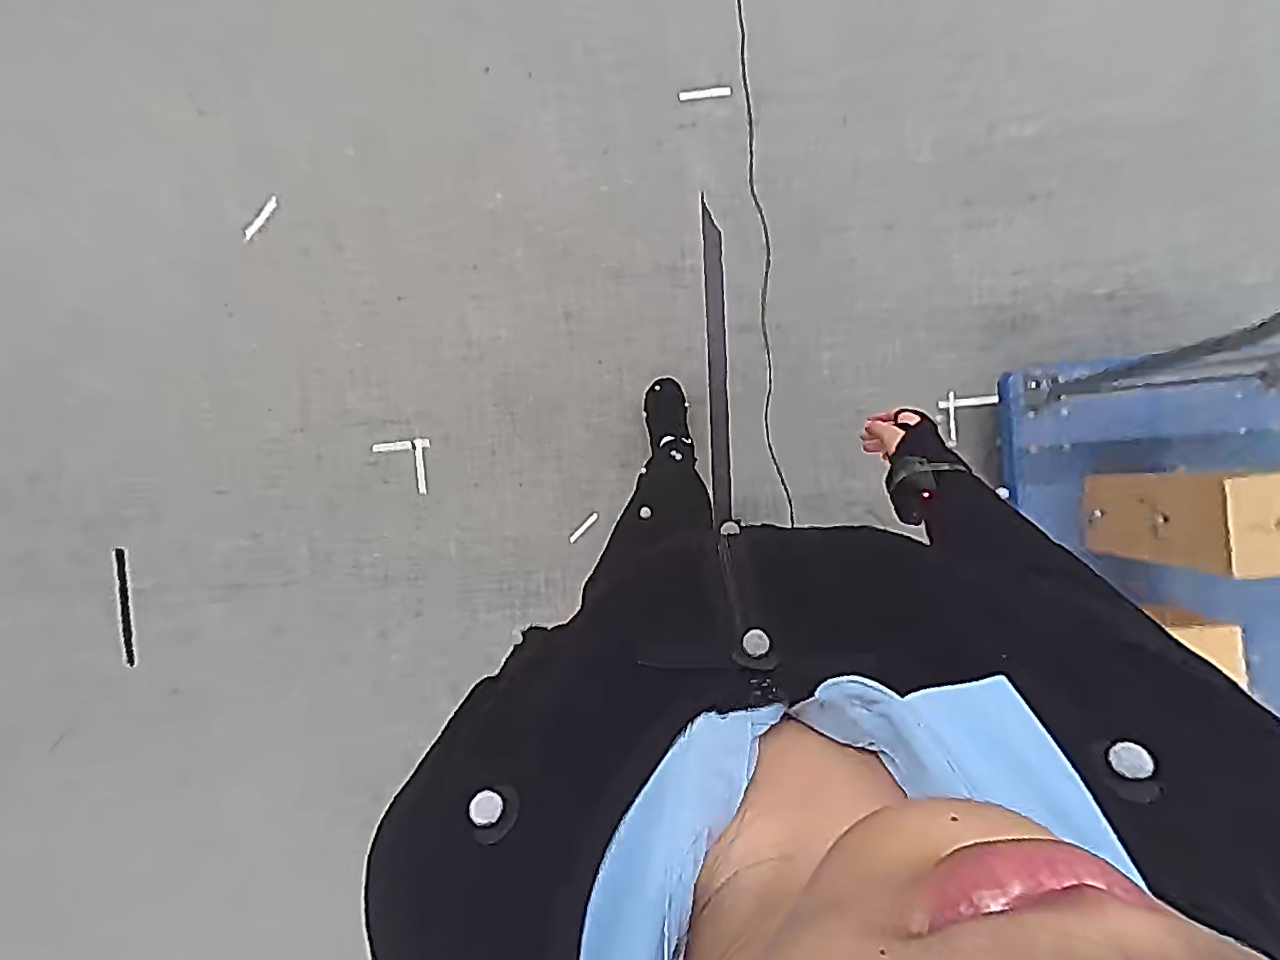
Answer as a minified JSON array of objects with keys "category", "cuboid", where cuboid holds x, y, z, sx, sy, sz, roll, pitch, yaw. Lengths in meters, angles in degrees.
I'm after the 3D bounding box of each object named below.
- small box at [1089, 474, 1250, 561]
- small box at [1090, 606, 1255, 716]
[{"category":"small box","cuboid":[1.083,0.072,1.116,0.179,0.176,0.168,-1,90,6]},{"category":"small box","cuboid":[1.093,0.367,1.123,0.179,0.176,0.168,-7,90,6]}]
